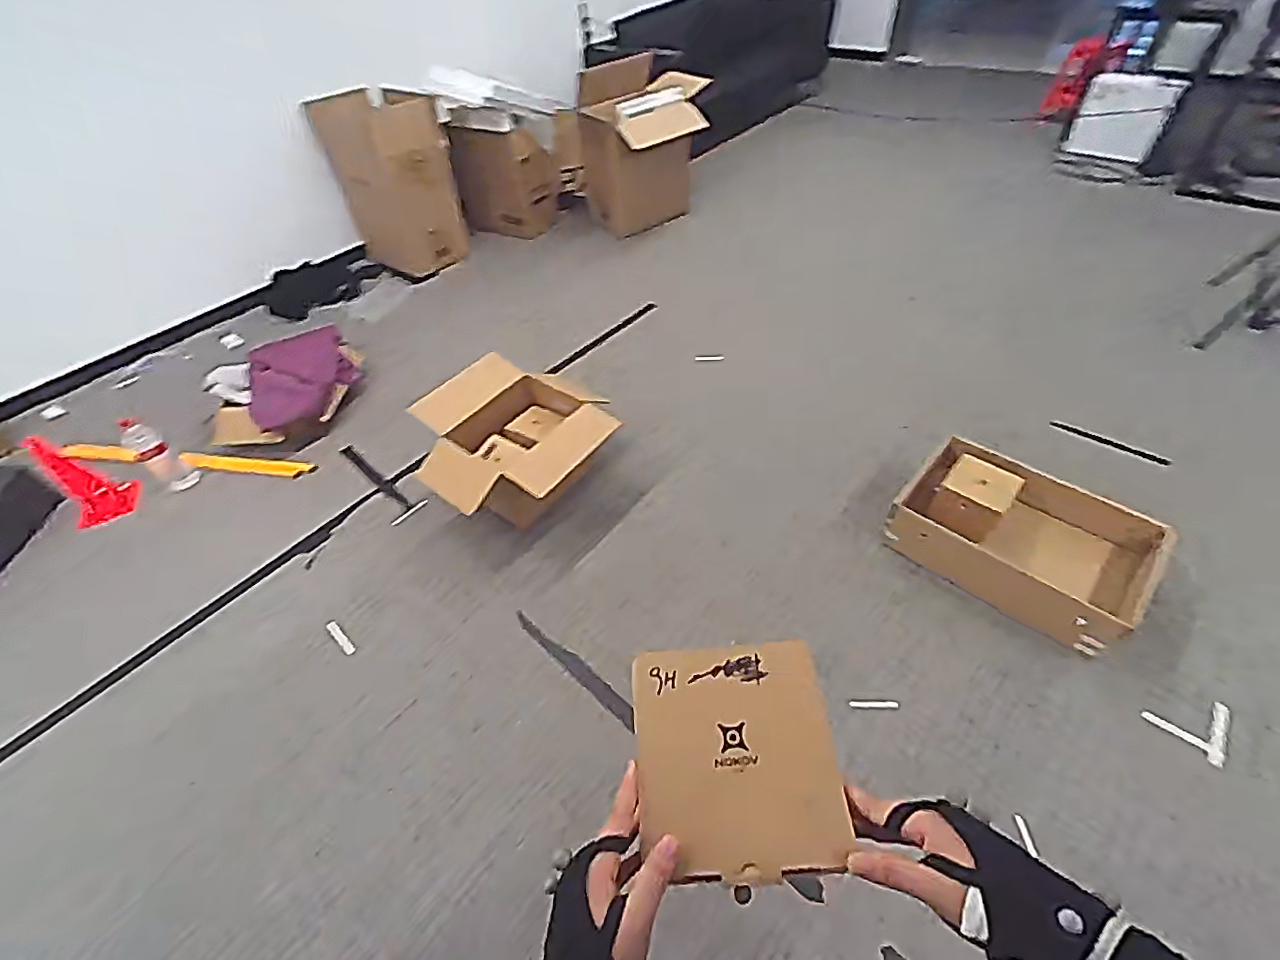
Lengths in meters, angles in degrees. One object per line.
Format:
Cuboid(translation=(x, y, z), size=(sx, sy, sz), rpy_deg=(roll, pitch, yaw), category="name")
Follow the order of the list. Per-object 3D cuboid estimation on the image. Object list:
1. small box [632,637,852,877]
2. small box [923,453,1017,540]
Cuboid(translation=(0.083, 0.269, 0.519), size=(0.168, 0.176, 0.179), rpy_deg=(-5, 53, 2), category="small box")
Cuboid(translation=(1.016, 0.055, 1.678), size=(0.179, 0.176, 0.168), rpy_deg=(33, 61, 28), category="small box")
